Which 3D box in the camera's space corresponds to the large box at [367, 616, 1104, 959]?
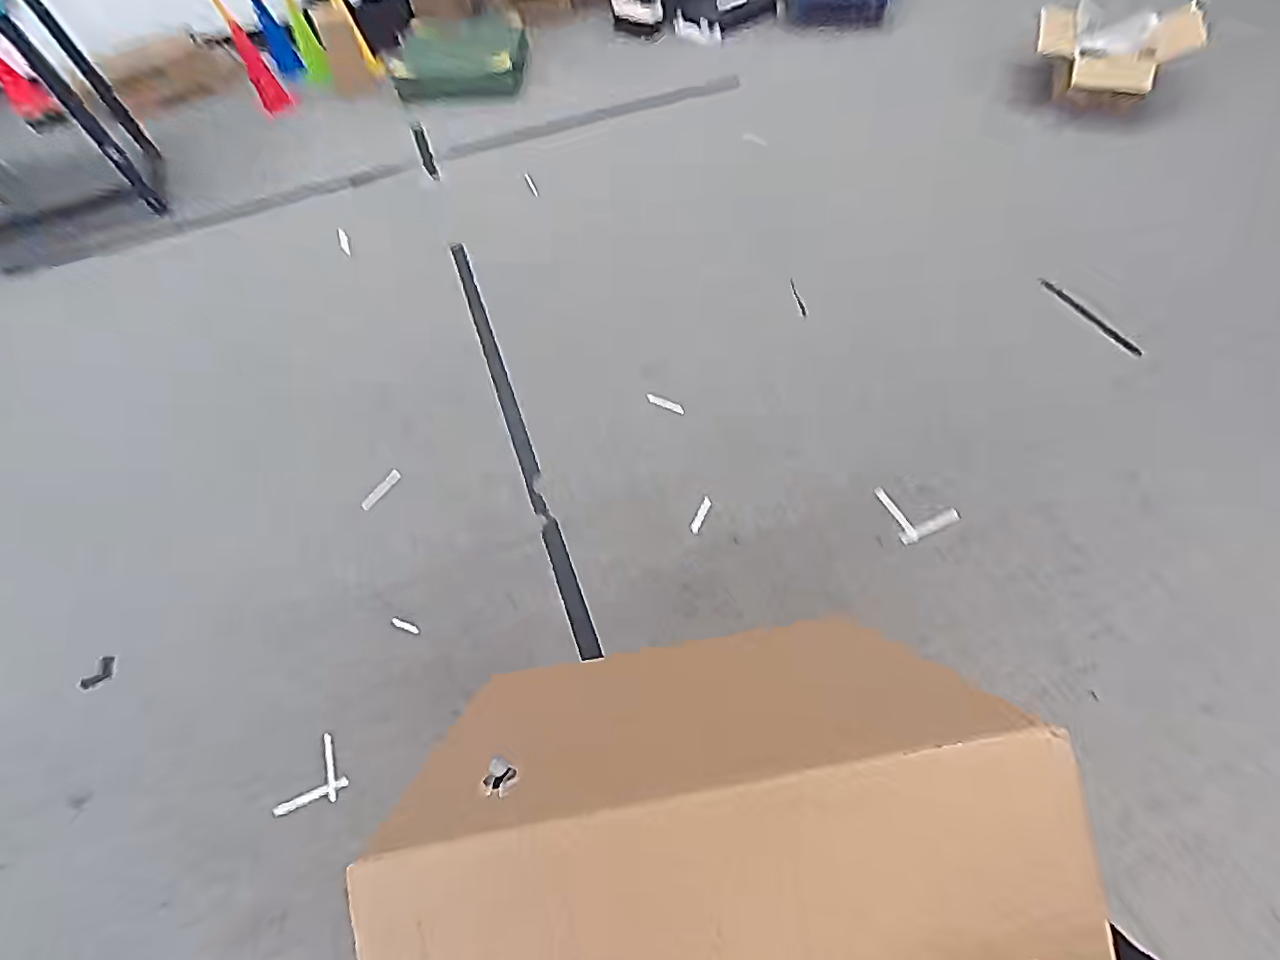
[{"bbox_3d":[0.064,0.328,0.449,0.408,0.320,0.320,-10,89,-2],"label":"large box"}]
